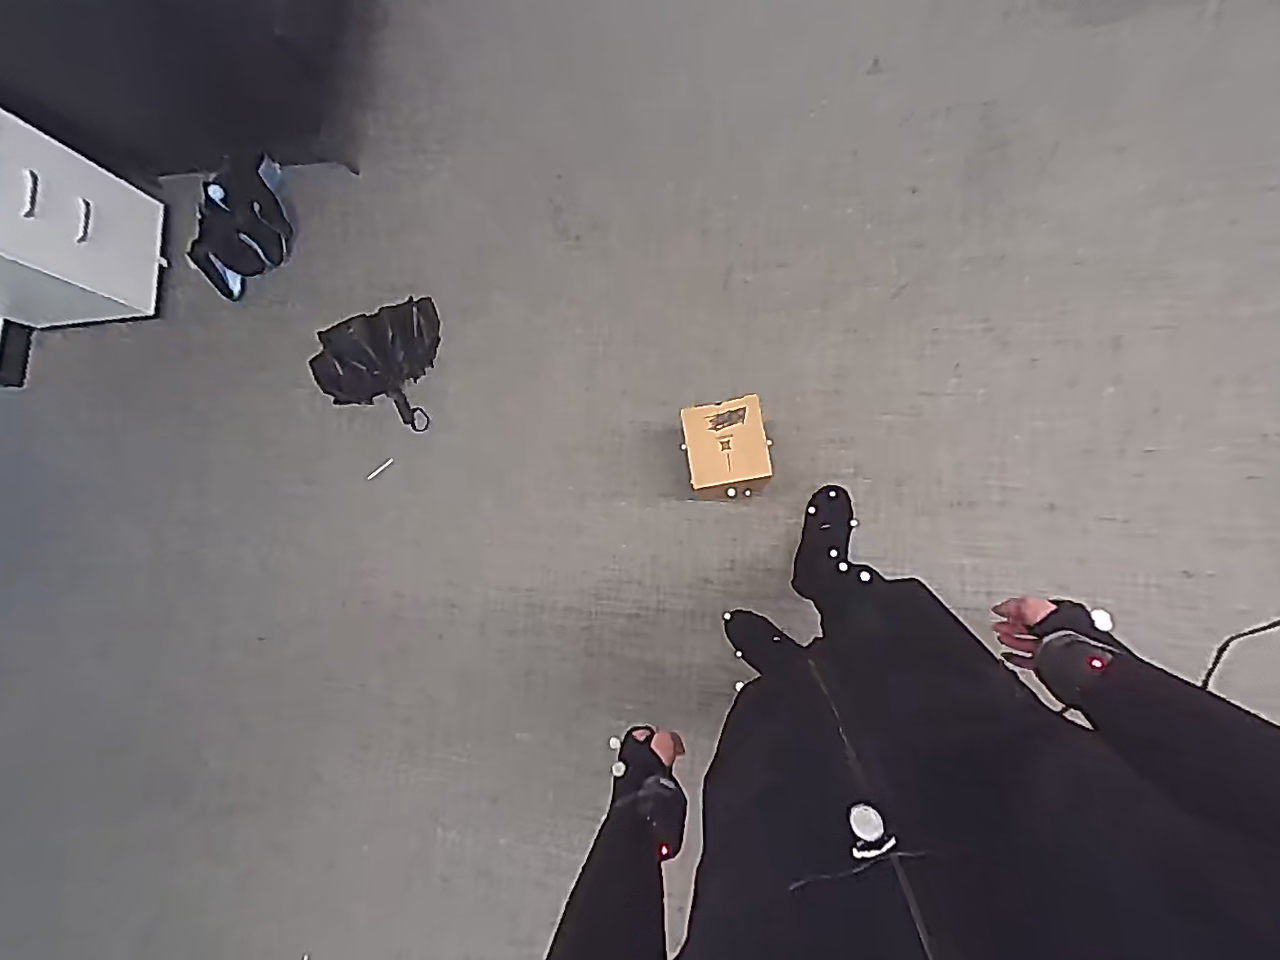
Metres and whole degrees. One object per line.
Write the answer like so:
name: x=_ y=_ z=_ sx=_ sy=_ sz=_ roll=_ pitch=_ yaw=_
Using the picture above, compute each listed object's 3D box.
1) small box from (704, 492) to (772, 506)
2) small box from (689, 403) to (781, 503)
small box: x=0.235 y=-0.033 z=1.352 sx=0.168 sy=0.176 sz=0.179 roll=-12 pitch=79 yaw=10
small box: x=0.207 y=-0.052 z=1.191 sx=0.168 sy=0.176 sz=0.179 roll=-11 pitch=82 yaw=10
